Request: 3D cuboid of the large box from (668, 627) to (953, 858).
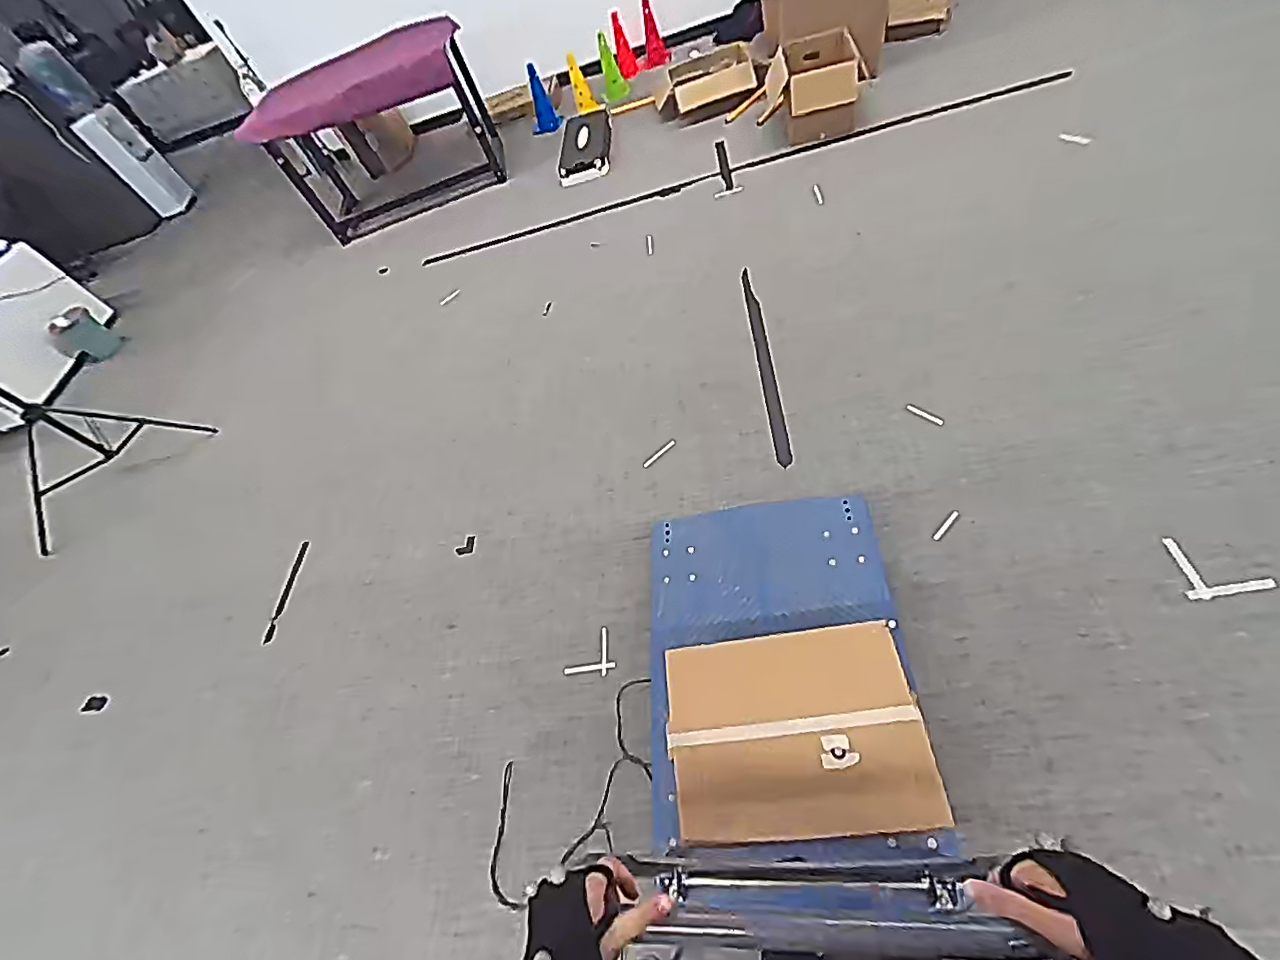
[{"bbox_3d":[0.289,0.507,1.018,0.408,0.320,0.320,-11,54,9],"label":"large box"}]
